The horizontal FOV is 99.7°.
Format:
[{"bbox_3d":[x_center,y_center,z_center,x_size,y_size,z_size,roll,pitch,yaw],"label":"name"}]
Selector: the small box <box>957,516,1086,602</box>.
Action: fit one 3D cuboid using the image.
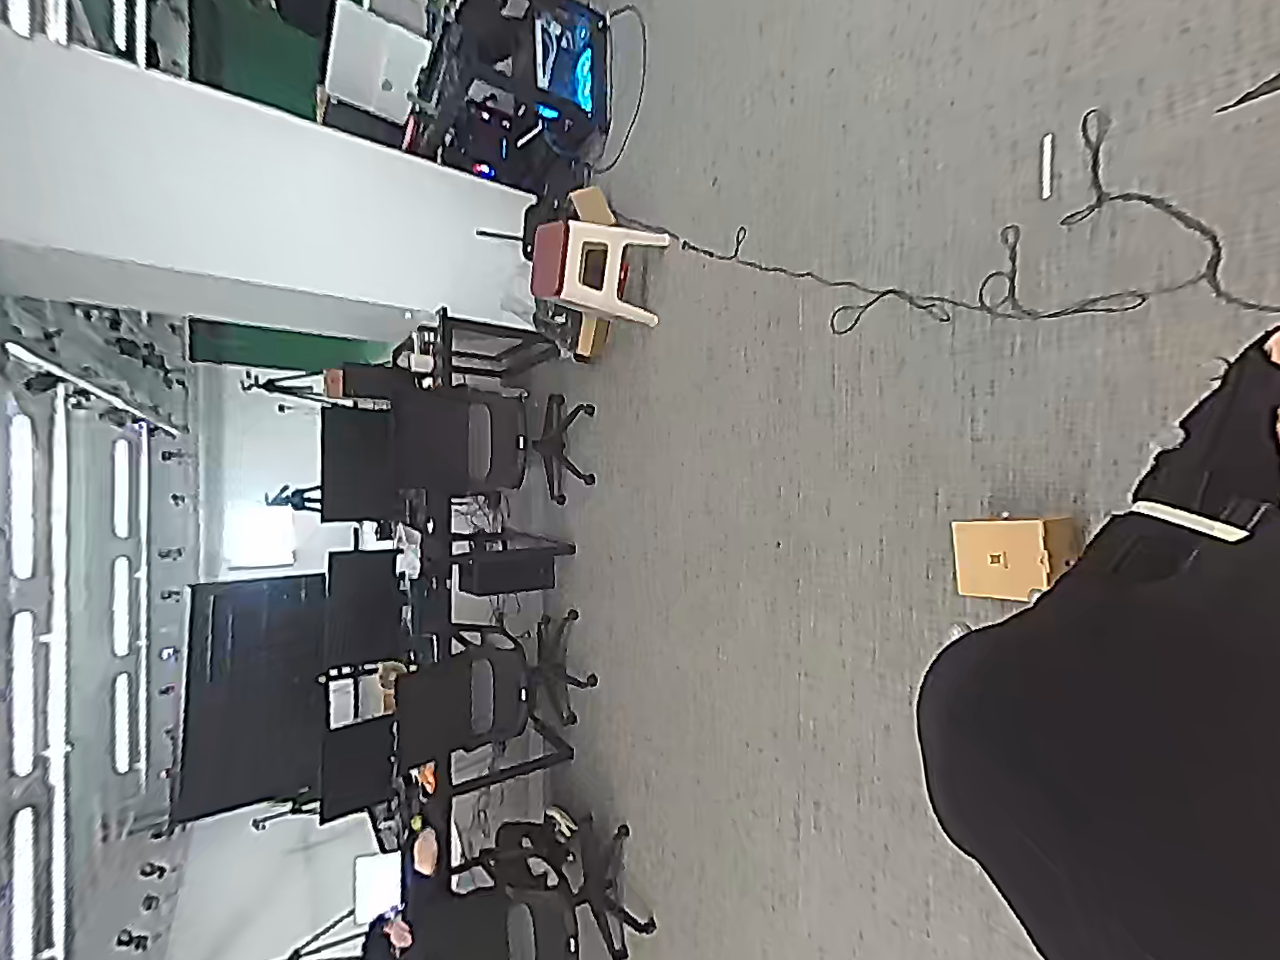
[{"bbox_3d":[0.821,0.164,1.168,0.179,0.176,0.168,-9,83,55],"label":"small box"}]
